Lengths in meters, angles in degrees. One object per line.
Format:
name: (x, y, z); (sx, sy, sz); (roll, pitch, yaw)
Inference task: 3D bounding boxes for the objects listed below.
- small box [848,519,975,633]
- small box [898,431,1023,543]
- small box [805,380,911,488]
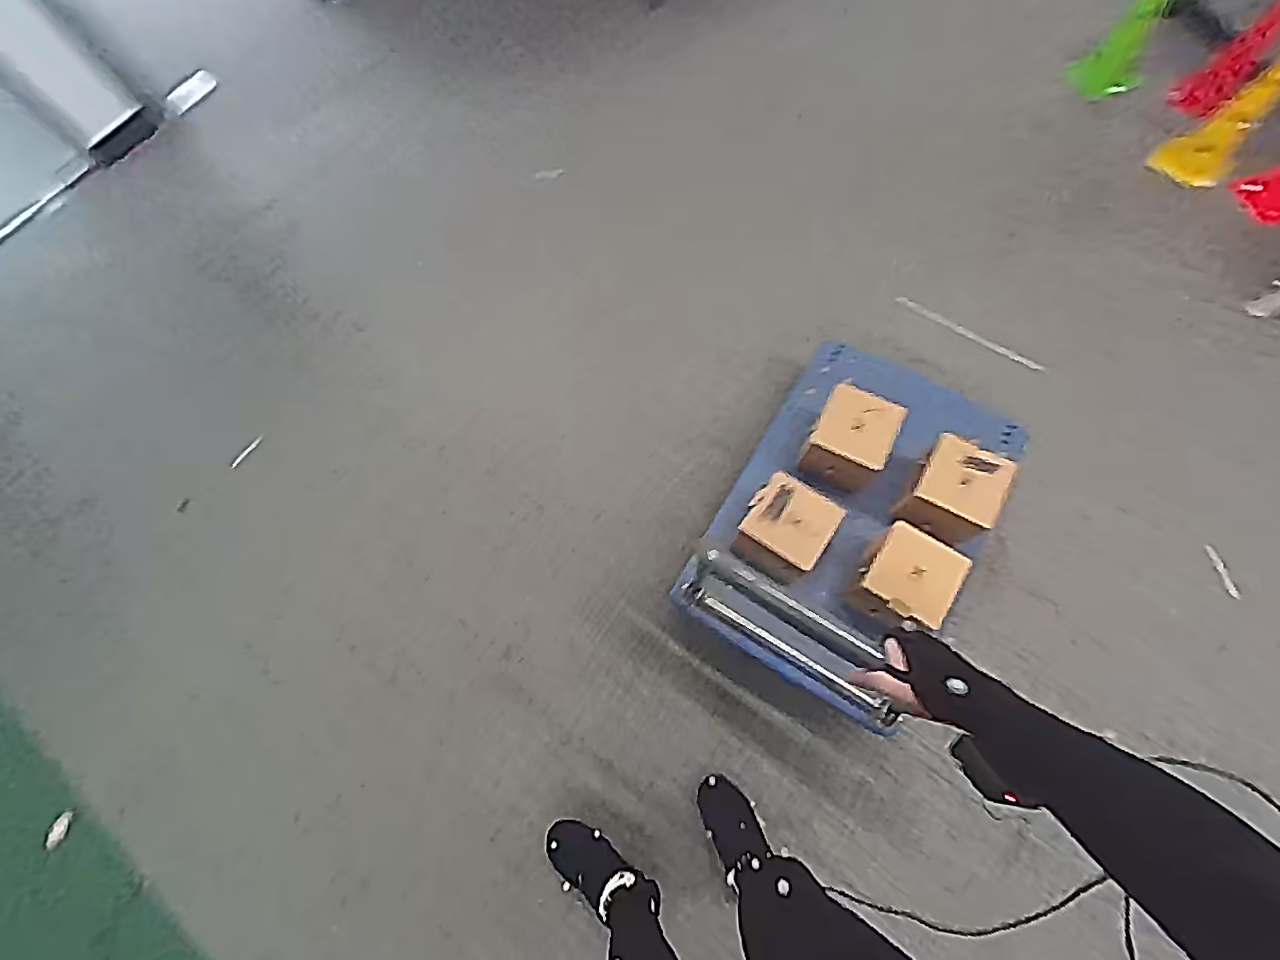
small box: (0.588, 0.218, 1.197); (0.168, 0.176, 0.179); (33, 76, 13)
small box: (0.732, 0.022, 1.255); (0.168, 0.176, 0.179); (29, 76, 13)
small box: (0.518, -0.105, 1.312); (0.168, 0.176, 0.179); (27, 75, 11)
